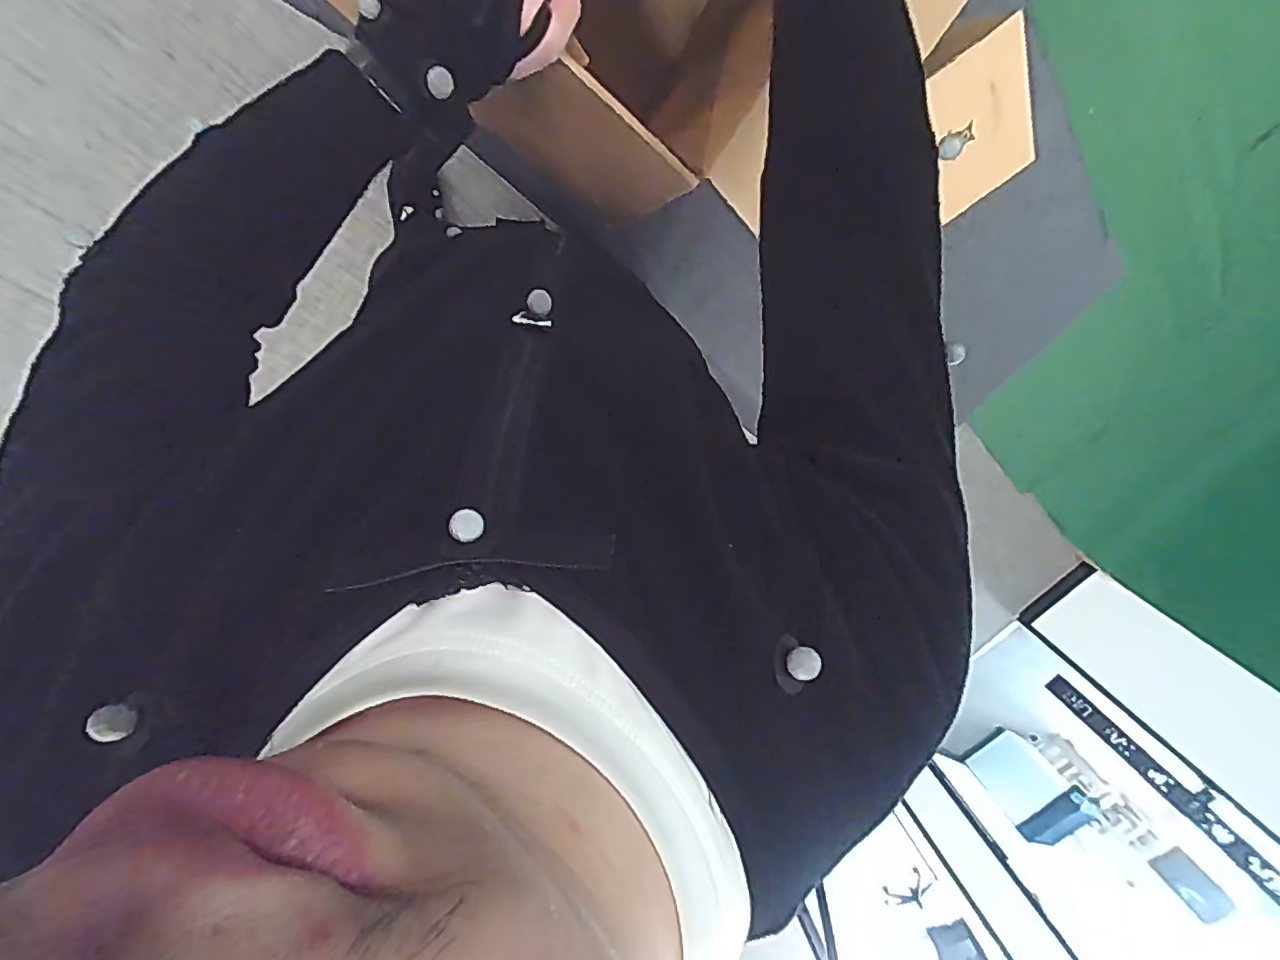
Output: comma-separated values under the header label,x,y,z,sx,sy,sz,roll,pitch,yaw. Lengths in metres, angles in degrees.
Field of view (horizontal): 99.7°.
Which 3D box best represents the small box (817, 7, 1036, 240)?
label,x,y,z,sx,sy,sz,roll,pitch,yaw
small box,0.349,-0.439,0.683,0.179,0.176,0.168,-36,127,5
